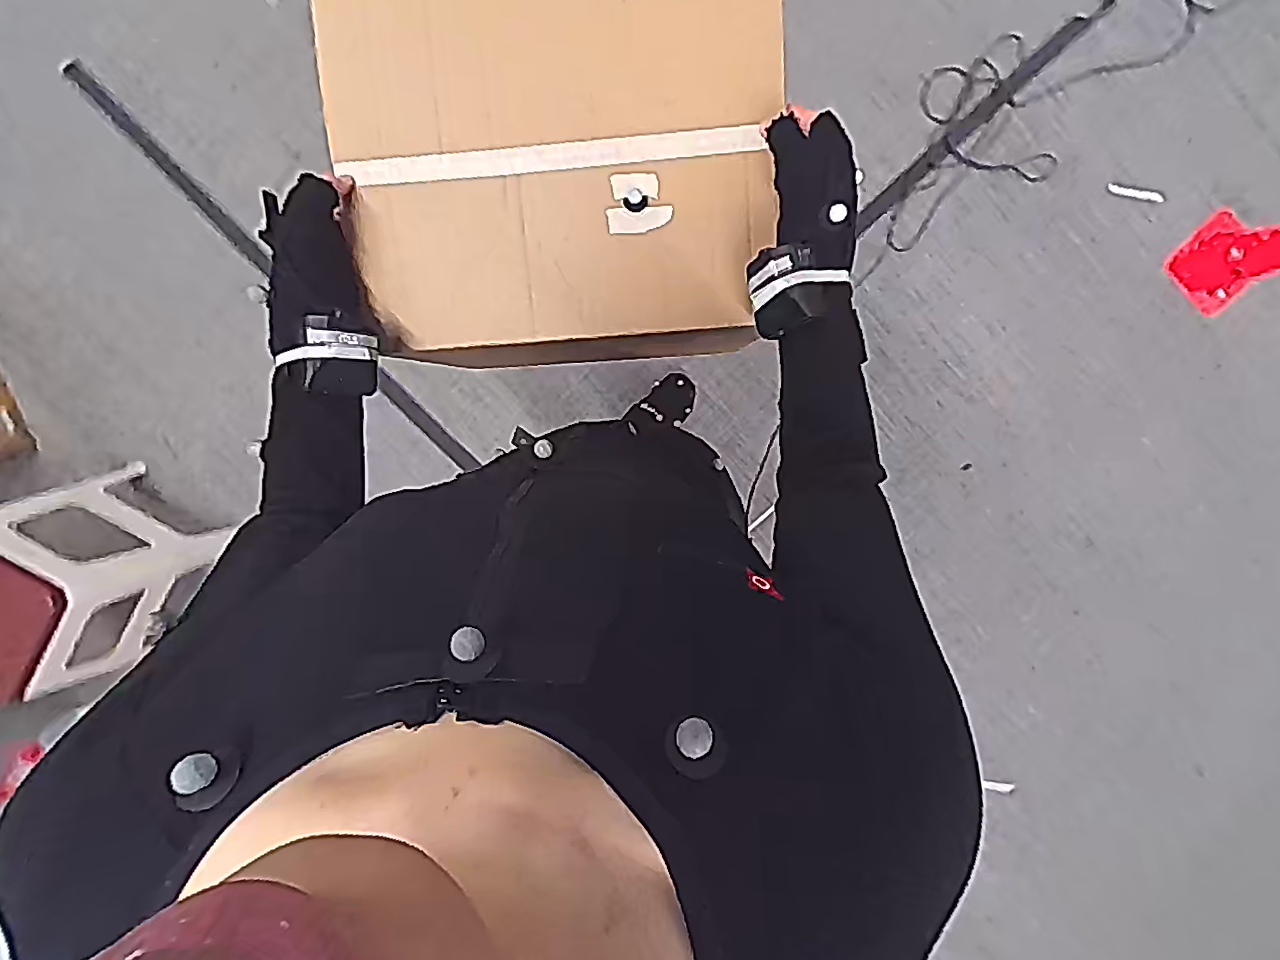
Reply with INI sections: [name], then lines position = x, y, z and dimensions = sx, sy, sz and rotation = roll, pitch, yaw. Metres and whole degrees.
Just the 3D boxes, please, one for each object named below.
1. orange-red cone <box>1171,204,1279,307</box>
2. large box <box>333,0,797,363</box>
[orange-red cone]
position = 1.480, -0.546, 1.208
dimensions = 0.198, 0.360, 0.199
rotation = 44, 95, -7
[large box]
position = -0.061, -0.316, 0.632
dimensions = 0.408, 0.320, 0.320
rotation = -3, 99, 1
